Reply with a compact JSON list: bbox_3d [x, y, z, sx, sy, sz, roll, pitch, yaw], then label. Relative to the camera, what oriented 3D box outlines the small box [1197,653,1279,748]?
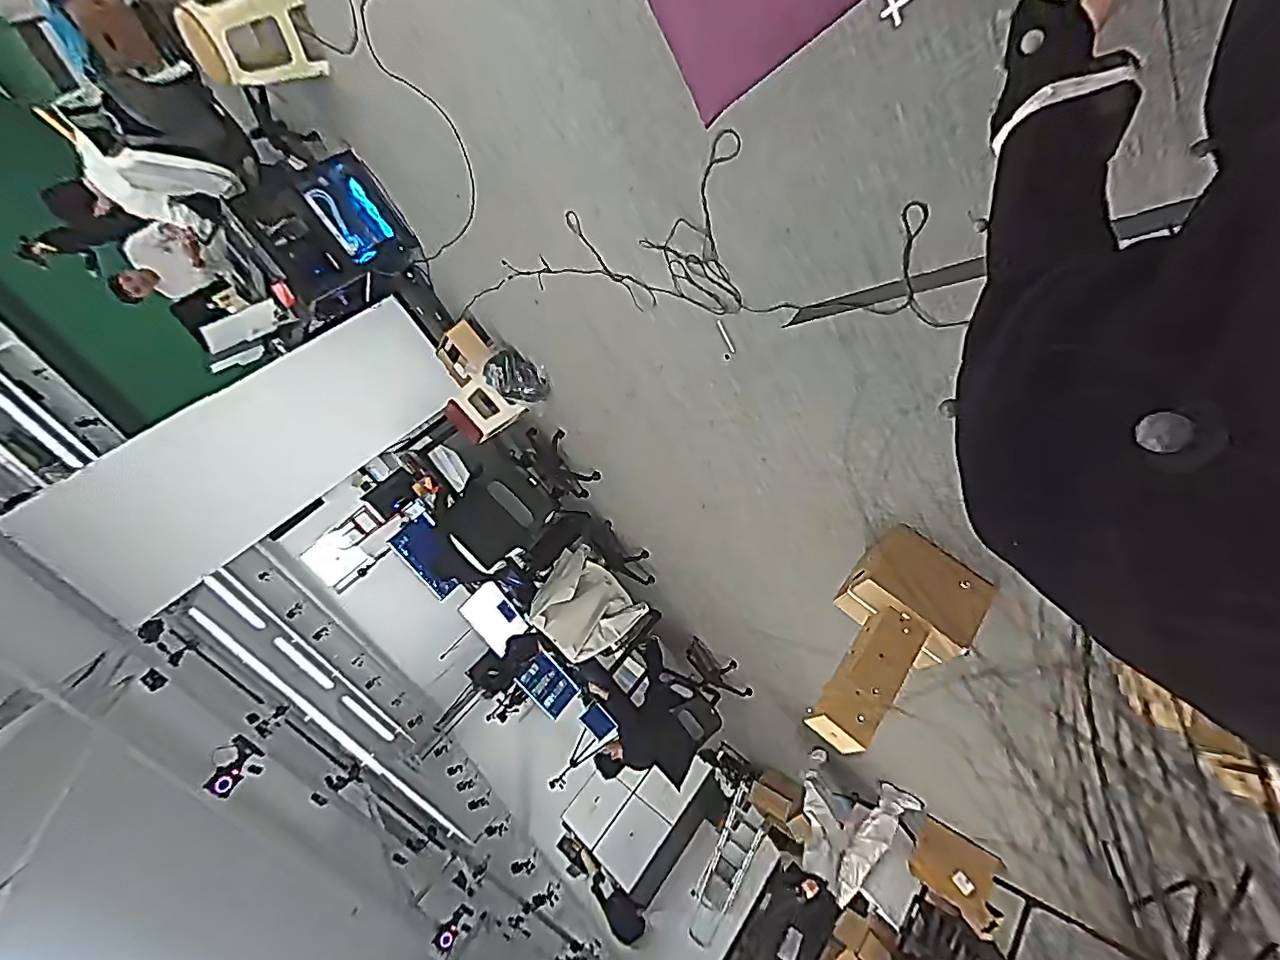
[{"bbox_3d":[1.729,0.621,1.527,0.179,0.176,0.168,53,151,-13],"label":"small box"}]

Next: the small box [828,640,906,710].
[{"bbox_3d":[0.812,0.700,1.928,0.168,0.176,0.179,38,154,14],"label":"small box"}]

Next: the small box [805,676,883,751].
[{"bbox_3d":[0.705,0.799,1.856,0.168,0.176,0.179,38,153,15],"label":"small box"}]

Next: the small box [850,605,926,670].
[{"bbox_3d":[0.918,0.595,1.997,0.168,0.176,0.179,38,153,15],"label":"small box"}]
